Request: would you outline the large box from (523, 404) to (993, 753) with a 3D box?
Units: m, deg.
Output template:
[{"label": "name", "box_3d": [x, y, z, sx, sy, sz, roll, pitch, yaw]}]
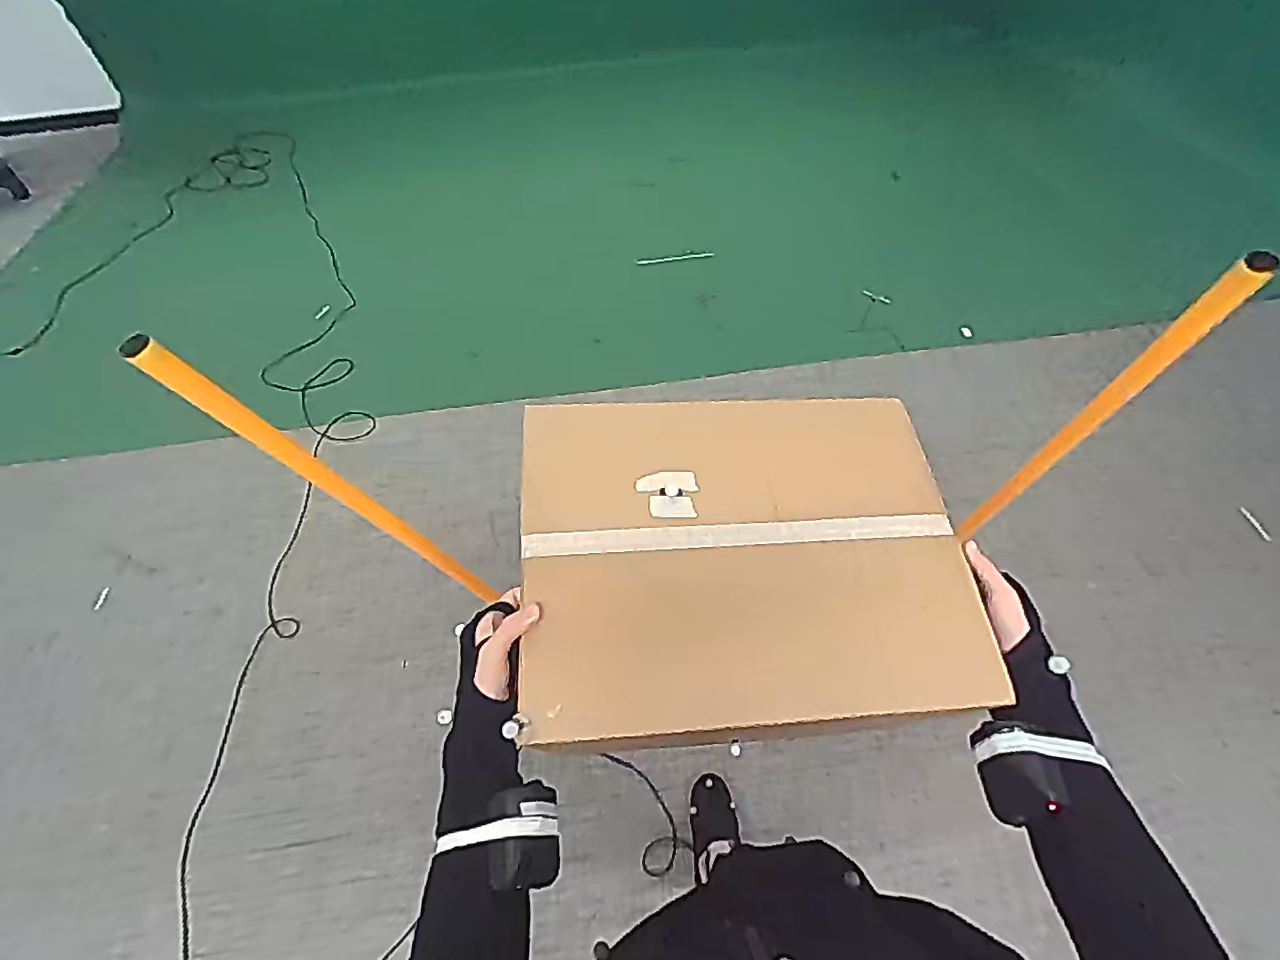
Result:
[{"label": "large box", "box_3d": [0.086, 0.131, 0.640, 0.408, 0.320, 0.320, -3, 61, -5]}]
